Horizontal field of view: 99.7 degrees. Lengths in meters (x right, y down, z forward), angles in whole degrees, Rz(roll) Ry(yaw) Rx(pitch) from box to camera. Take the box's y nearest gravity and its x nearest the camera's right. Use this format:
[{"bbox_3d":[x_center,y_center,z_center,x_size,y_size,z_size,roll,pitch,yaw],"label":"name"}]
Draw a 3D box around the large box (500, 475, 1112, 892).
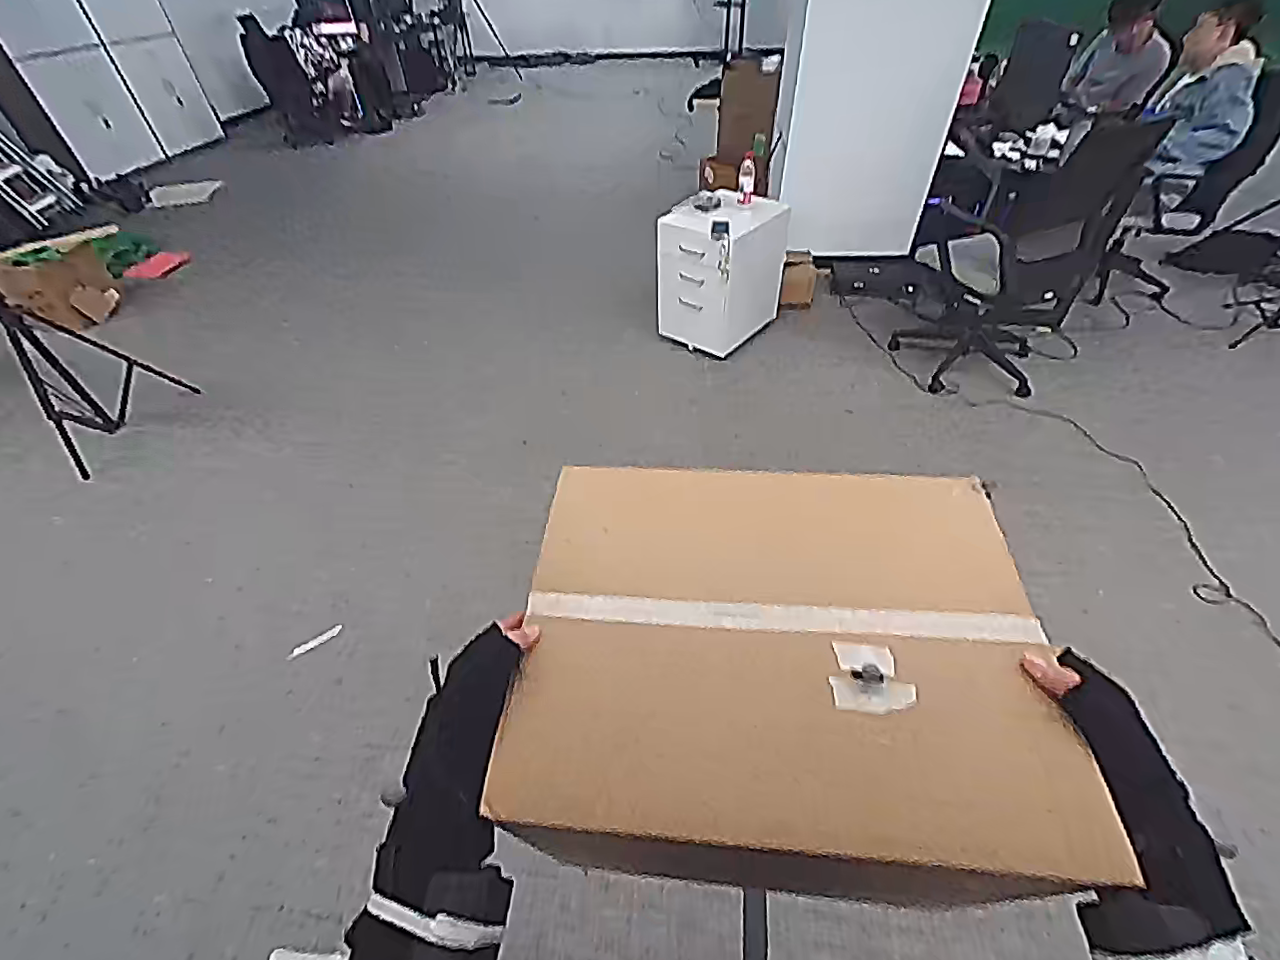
[{"bbox_3d":[0.117,0.211,0.560,0.408,0.320,0.320,2,51,6],"label":"large box"}]
